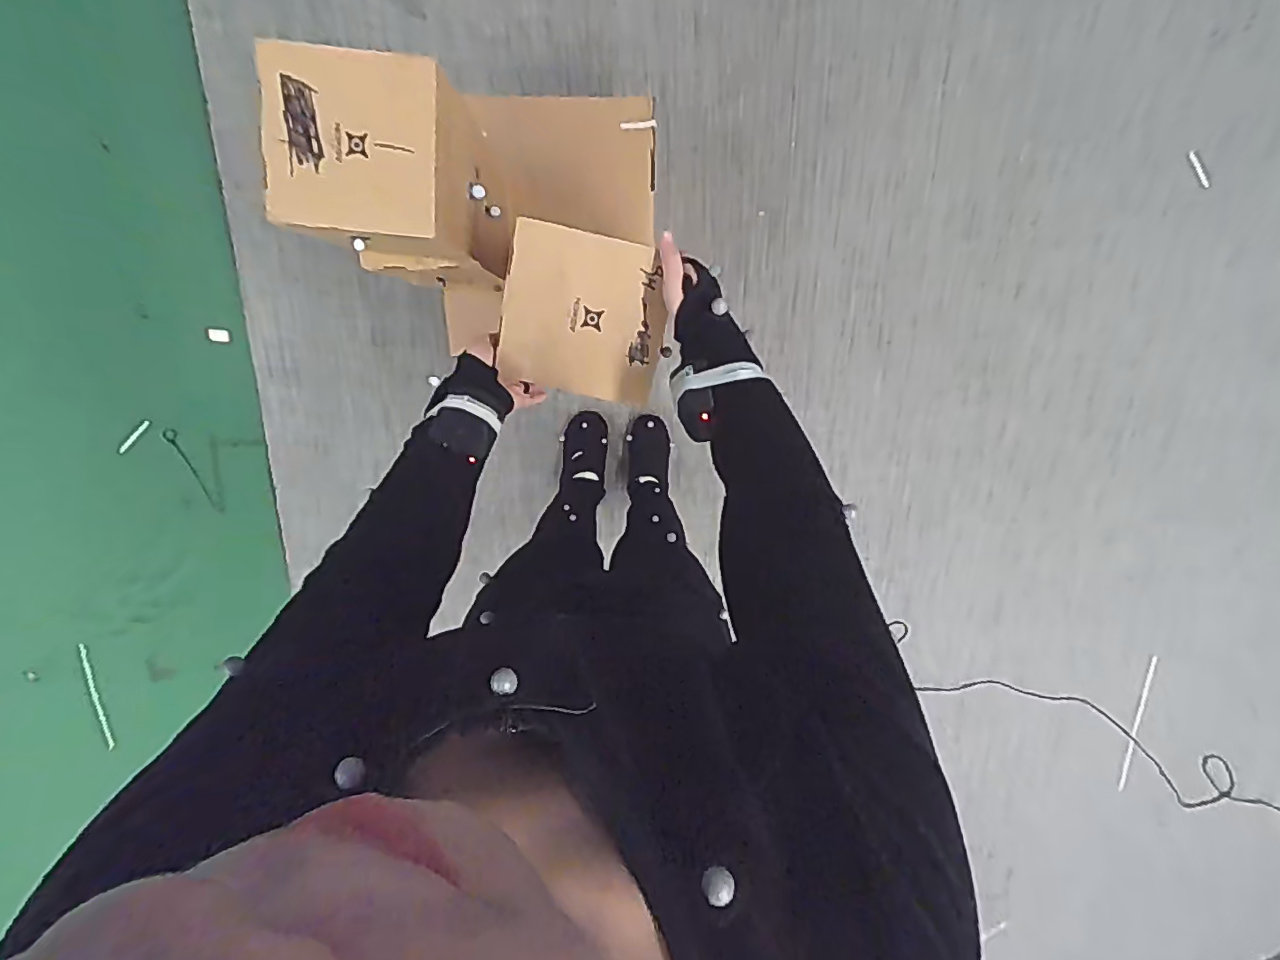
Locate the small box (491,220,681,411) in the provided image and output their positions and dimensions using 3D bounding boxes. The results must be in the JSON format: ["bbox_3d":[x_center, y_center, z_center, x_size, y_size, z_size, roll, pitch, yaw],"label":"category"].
[{"bbox_3d":[-0.059,-0.191,0.653,0.179,0.176,0.168,13,105,-3],"label":"small box"}]

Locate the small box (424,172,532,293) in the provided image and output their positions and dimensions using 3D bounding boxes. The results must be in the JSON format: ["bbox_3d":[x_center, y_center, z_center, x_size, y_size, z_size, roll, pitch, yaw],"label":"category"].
[{"bbox_3d":[-0.285,-0.423,0.944,0.179,0.176,0.168,-1,102,0],"label":"small box"}]

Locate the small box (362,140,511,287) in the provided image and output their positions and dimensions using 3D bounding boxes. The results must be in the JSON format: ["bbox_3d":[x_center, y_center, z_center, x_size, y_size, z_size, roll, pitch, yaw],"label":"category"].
[{"bbox_3d":[-0.288,-0.384,0.785,0.168,0.176,0.179,1,104,0],"label":"small box"}]

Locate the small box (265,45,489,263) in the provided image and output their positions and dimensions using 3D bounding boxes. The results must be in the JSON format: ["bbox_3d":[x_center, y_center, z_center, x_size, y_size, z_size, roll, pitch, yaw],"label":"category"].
[{"bbox_3d":[-0.288,-0.355,0.623,0.179,0.176,0.168,6,104,-2],"label":"small box"}]
